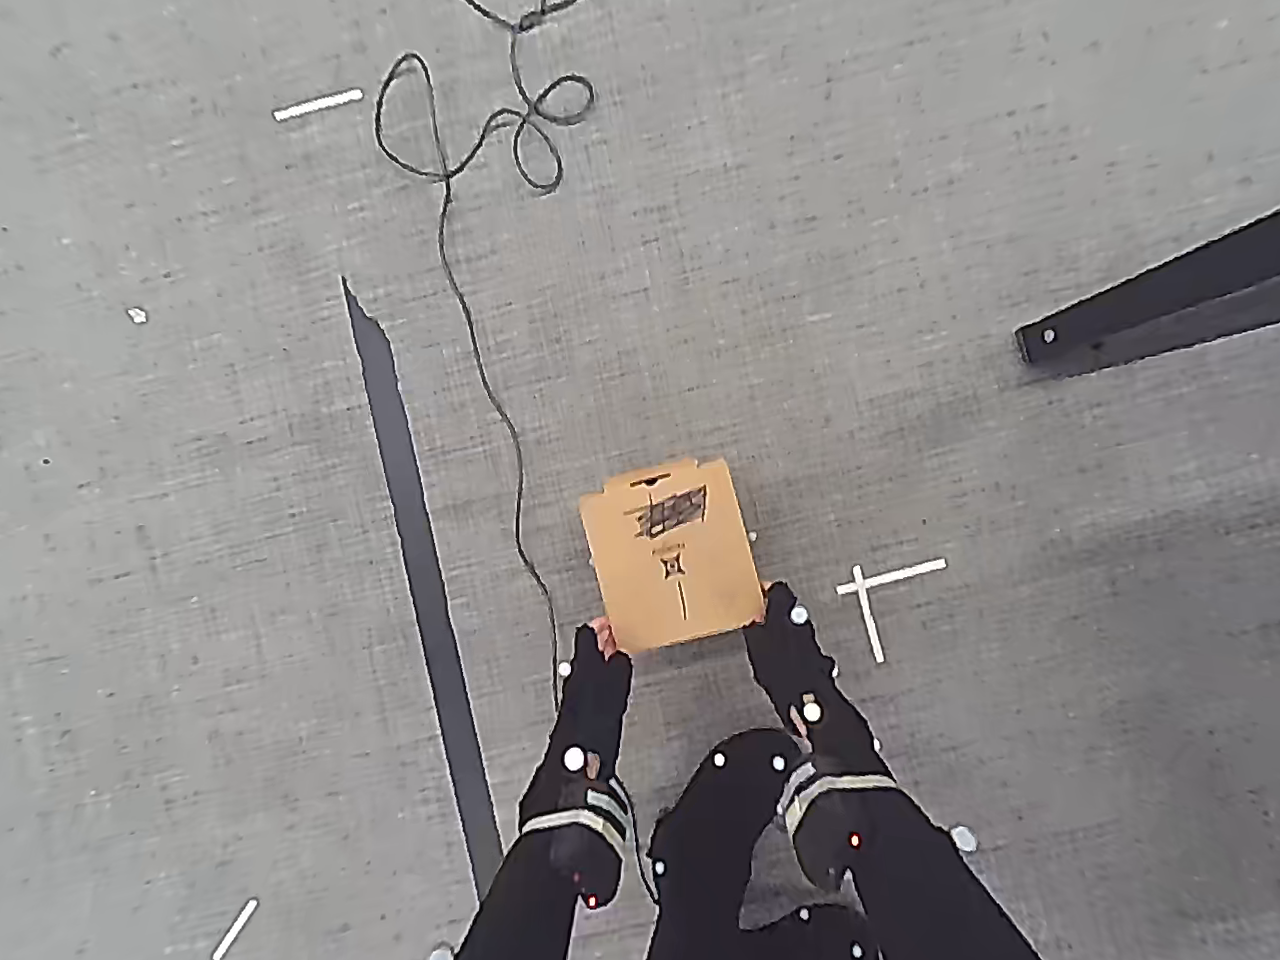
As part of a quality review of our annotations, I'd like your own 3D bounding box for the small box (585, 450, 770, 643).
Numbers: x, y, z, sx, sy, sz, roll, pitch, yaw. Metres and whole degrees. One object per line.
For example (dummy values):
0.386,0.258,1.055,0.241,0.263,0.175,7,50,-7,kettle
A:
0.045,0.073,0.650,0.168,0.176,0.179,-15,88,6,small box
